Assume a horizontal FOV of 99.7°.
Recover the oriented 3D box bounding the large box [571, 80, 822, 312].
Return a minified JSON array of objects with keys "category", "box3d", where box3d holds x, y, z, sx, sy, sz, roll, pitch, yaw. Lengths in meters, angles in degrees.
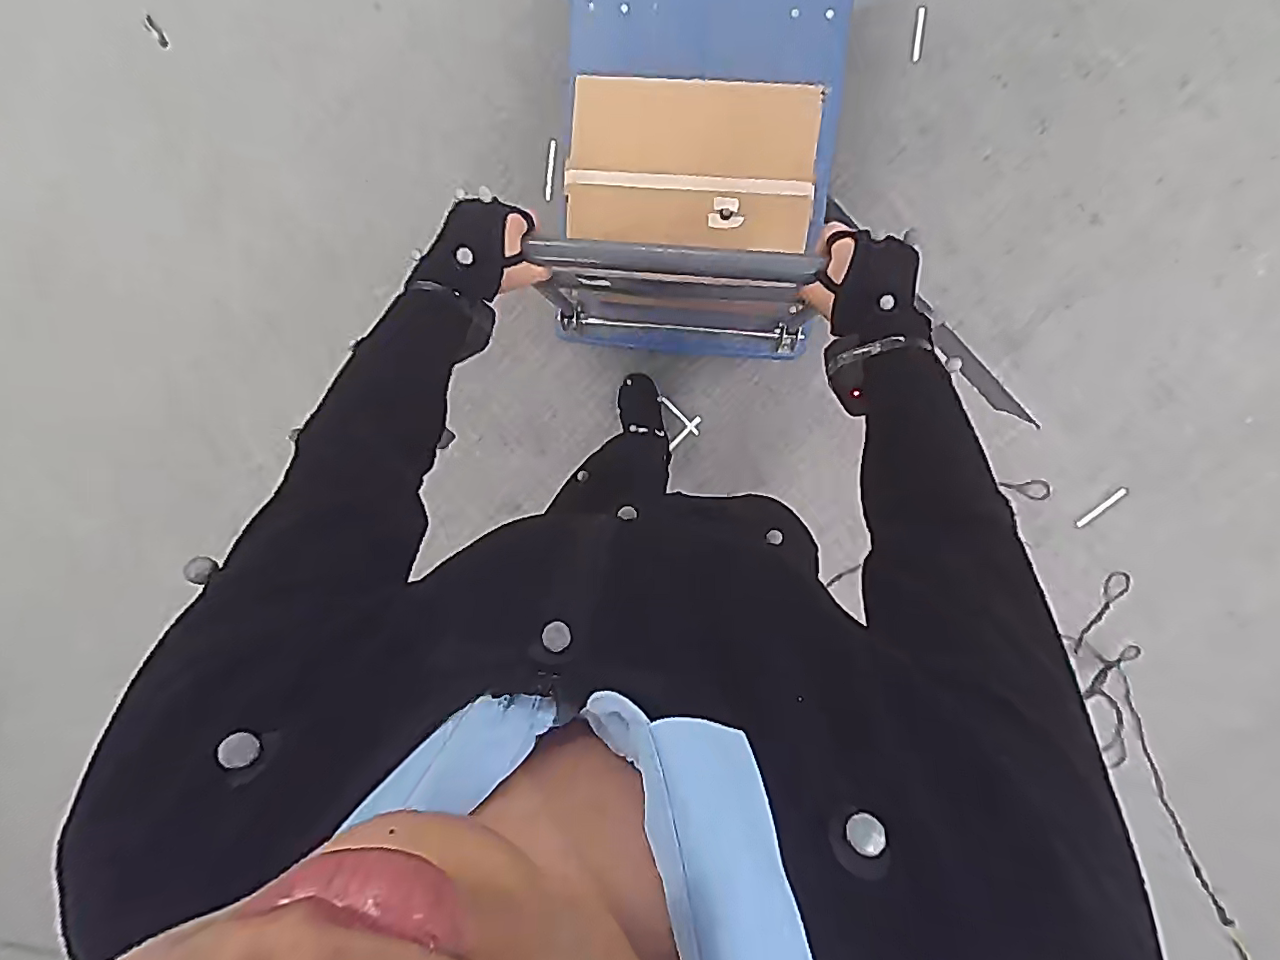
[{"category":"large box","box3d":[0.095,-0.517,1.049,0.408,0.320,0.320,5,100,3]}]
